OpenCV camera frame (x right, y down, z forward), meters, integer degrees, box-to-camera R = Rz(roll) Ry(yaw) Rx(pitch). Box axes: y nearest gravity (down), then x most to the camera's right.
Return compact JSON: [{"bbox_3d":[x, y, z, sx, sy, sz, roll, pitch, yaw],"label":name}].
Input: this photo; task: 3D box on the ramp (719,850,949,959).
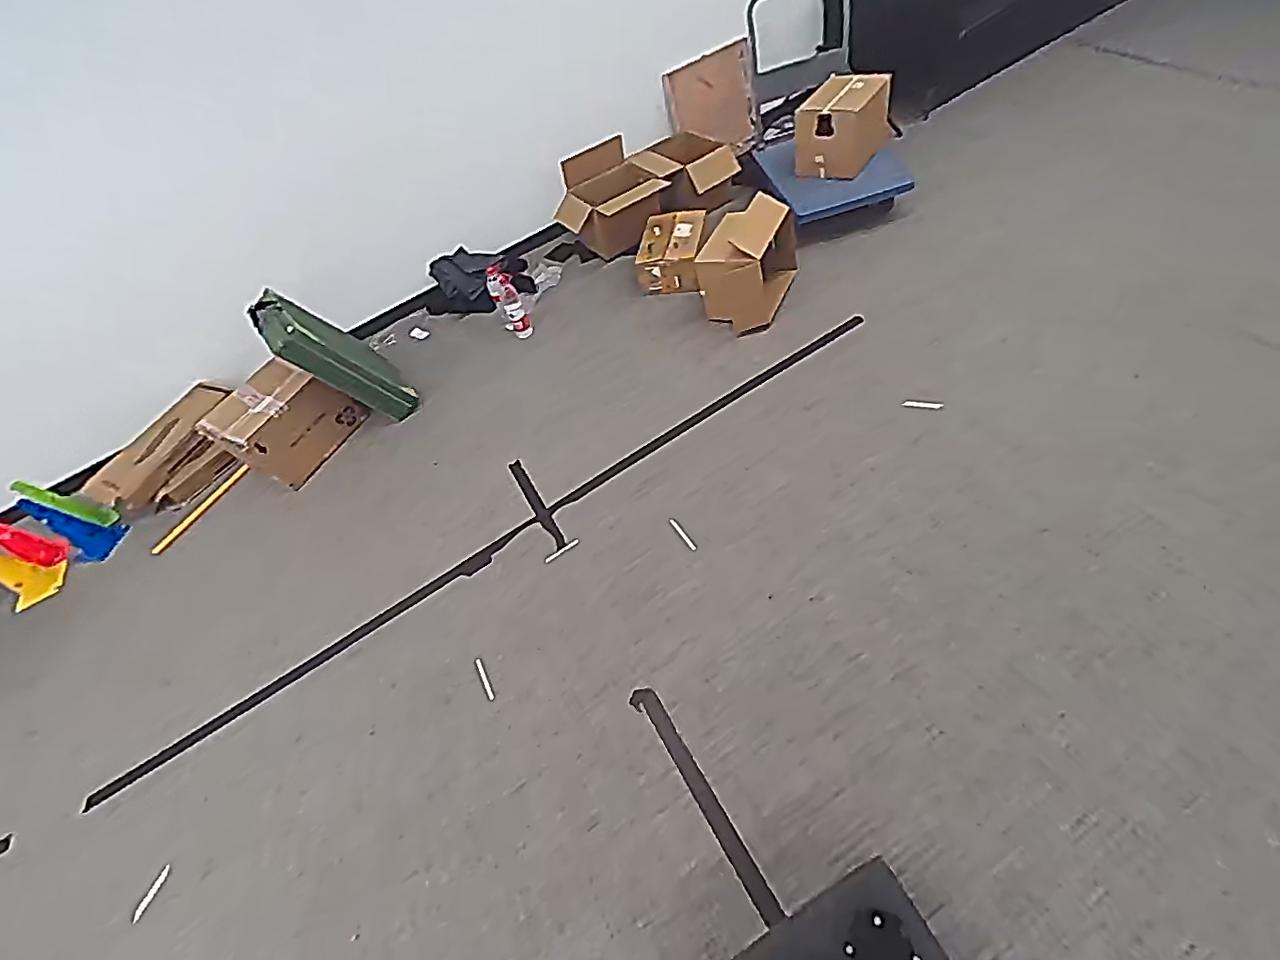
[{"bbox_3d":[0.523,1.240,0.854,0.509,0.206,0.991,-31,52,-10],"label":"ramp"}]
